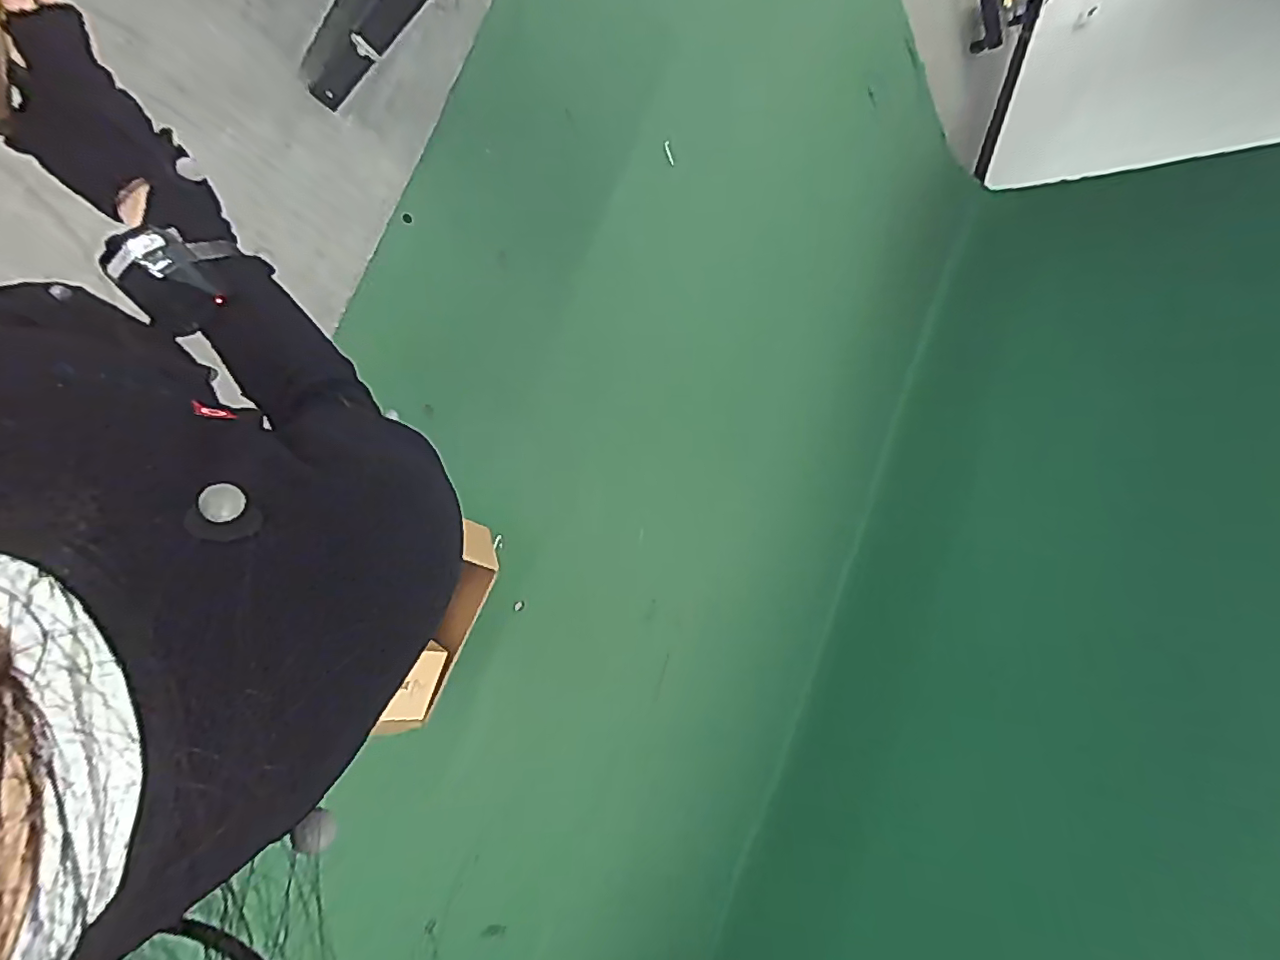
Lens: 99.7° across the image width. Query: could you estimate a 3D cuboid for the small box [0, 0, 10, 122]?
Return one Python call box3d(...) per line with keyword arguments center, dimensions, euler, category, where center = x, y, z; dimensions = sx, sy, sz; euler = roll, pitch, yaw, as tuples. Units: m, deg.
box3d(center=(-0.467, -0.336, 0.284), dimensions=(0.168, 0.176, 0.179), euler=(-6, 99, -47), category="small box")
